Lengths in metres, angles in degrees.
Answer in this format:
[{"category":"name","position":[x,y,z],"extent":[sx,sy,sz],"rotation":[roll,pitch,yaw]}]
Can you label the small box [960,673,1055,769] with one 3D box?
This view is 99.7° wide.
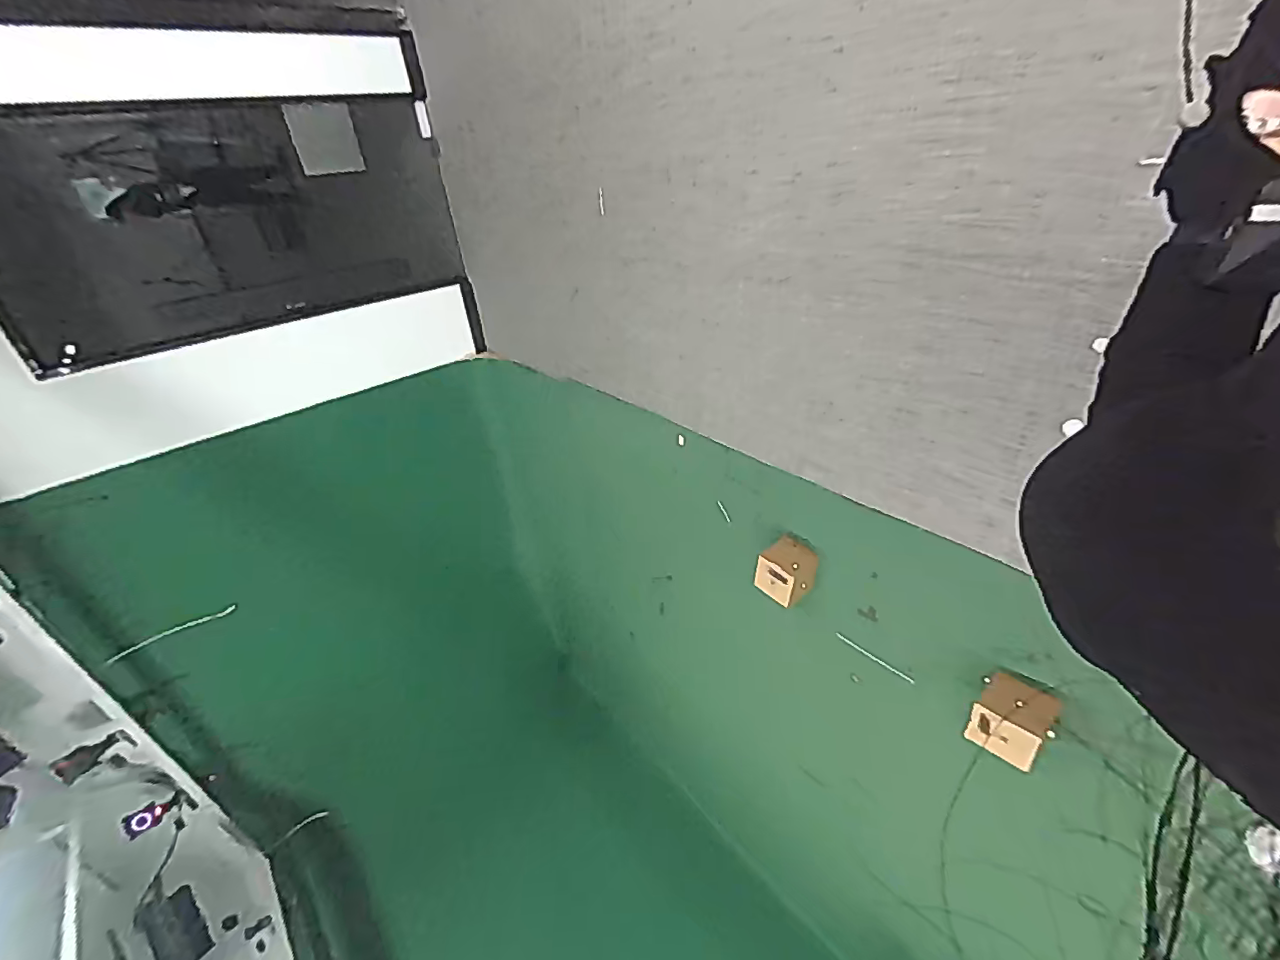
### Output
[{"category":"small box","position":[1.117,0.720,1.645],"extent":[0.179,0.176,0.168],"rotation":[26,133,42]}]
